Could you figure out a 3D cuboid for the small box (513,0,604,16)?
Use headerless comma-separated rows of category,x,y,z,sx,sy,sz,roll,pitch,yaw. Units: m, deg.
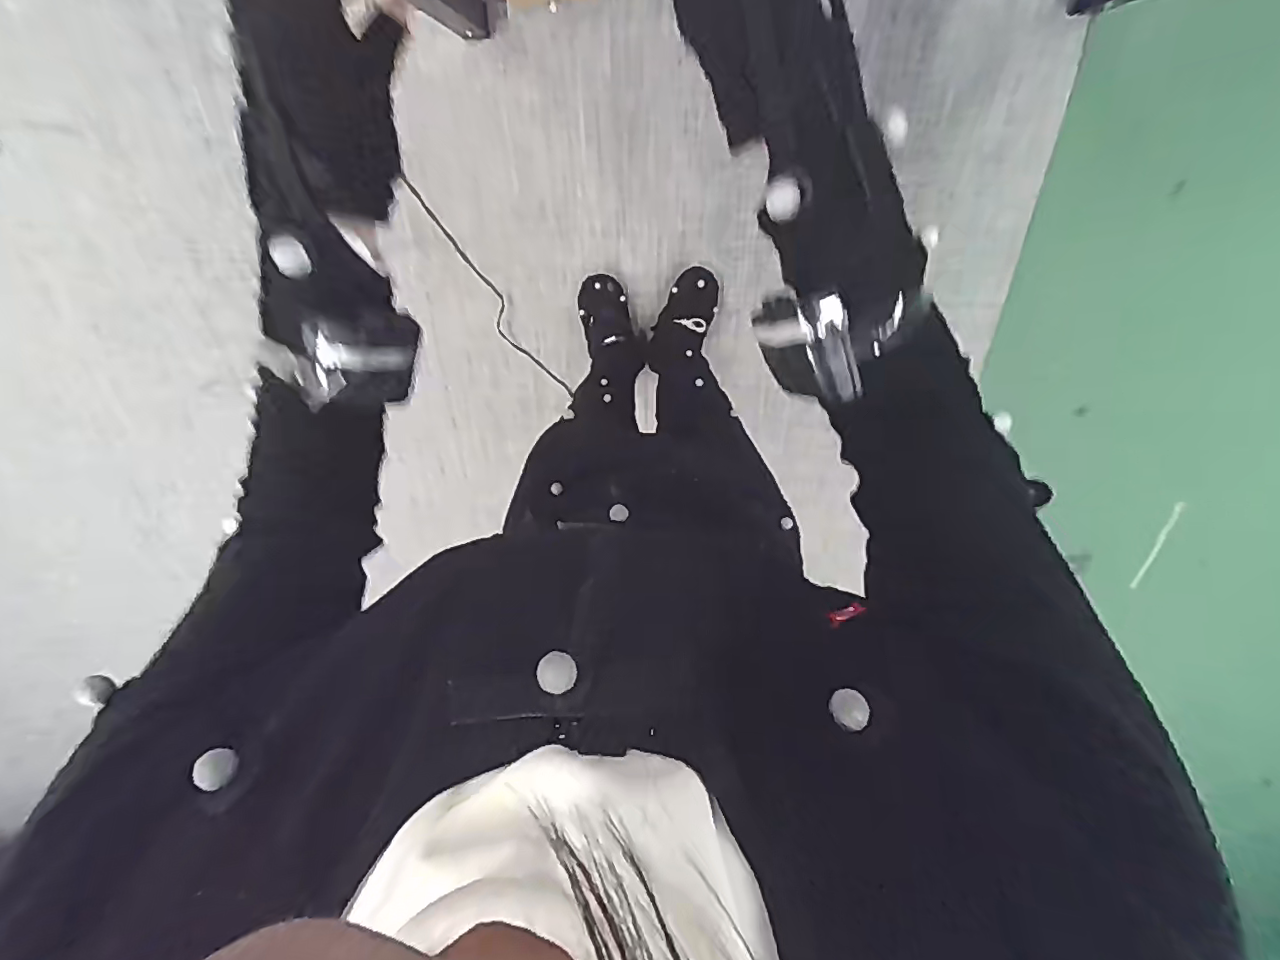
small box,-0.153,-0.908,0.894,0.168,0.176,0.179,-4,120,3
